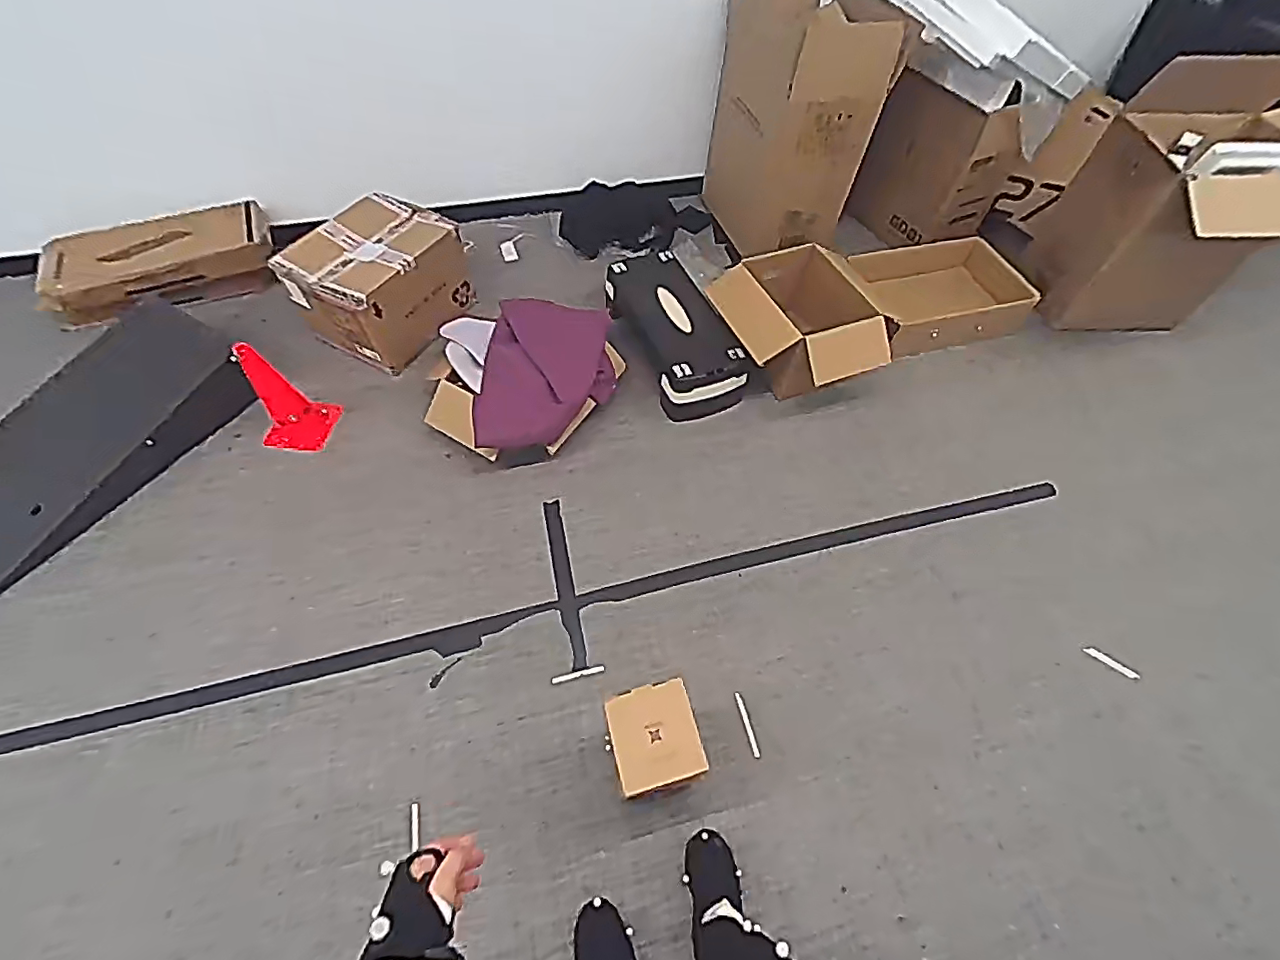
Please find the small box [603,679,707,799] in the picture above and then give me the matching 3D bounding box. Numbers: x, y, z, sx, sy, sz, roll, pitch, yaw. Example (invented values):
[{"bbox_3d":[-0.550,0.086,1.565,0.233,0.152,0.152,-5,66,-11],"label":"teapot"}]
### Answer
[{"bbox_3d":[0.023,0.529,1.099,0.168,0.176,0.179,-13,60,-9],"label":"small box"}]
